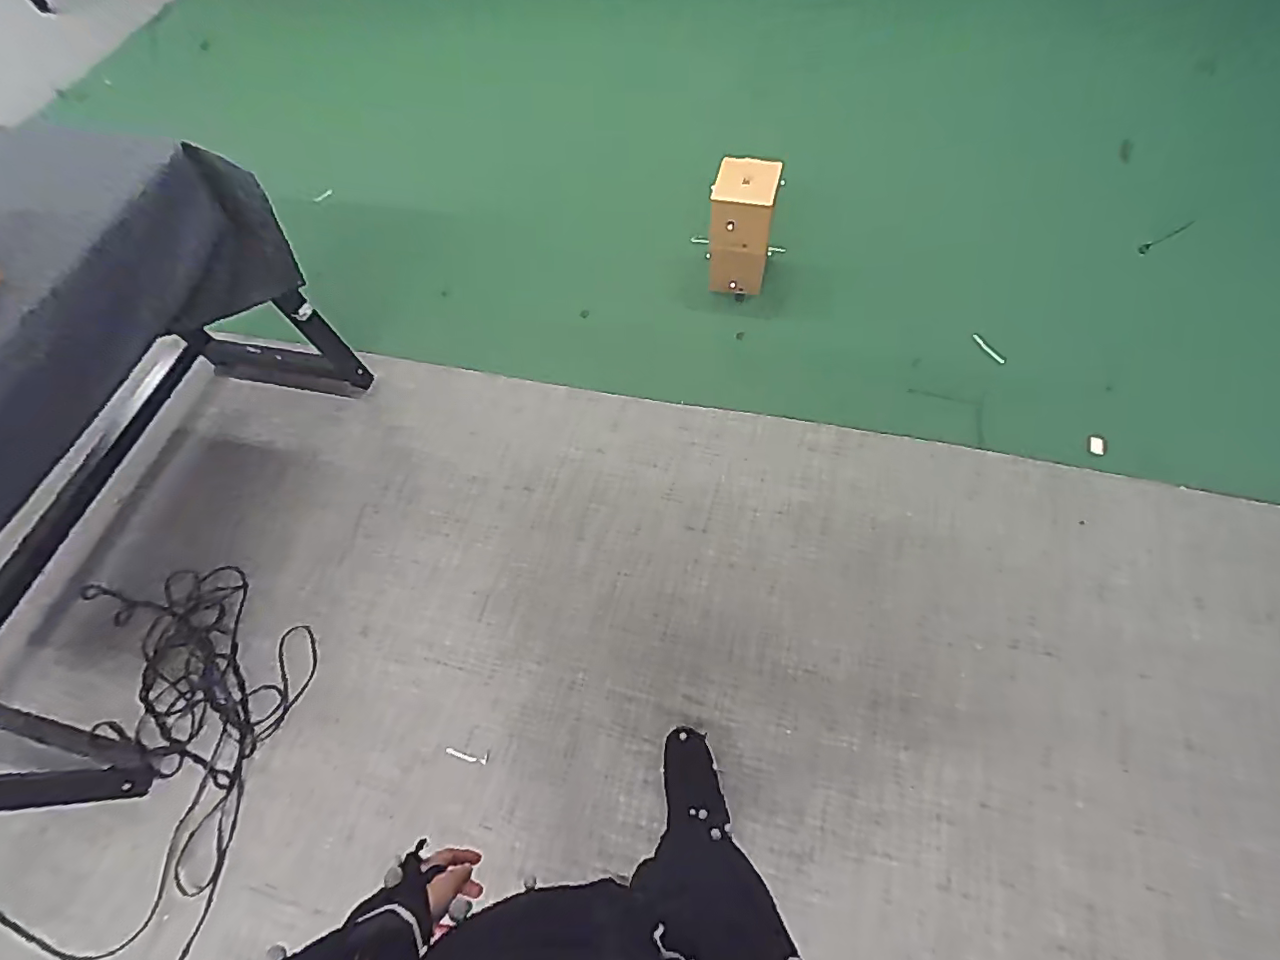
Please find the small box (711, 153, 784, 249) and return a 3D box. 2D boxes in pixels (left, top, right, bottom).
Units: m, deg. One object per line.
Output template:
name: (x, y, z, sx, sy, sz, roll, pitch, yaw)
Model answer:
small box: (0.297, -0.775, 1.512, 0.168, 0.176, 0.179, 12, 66, 12)
